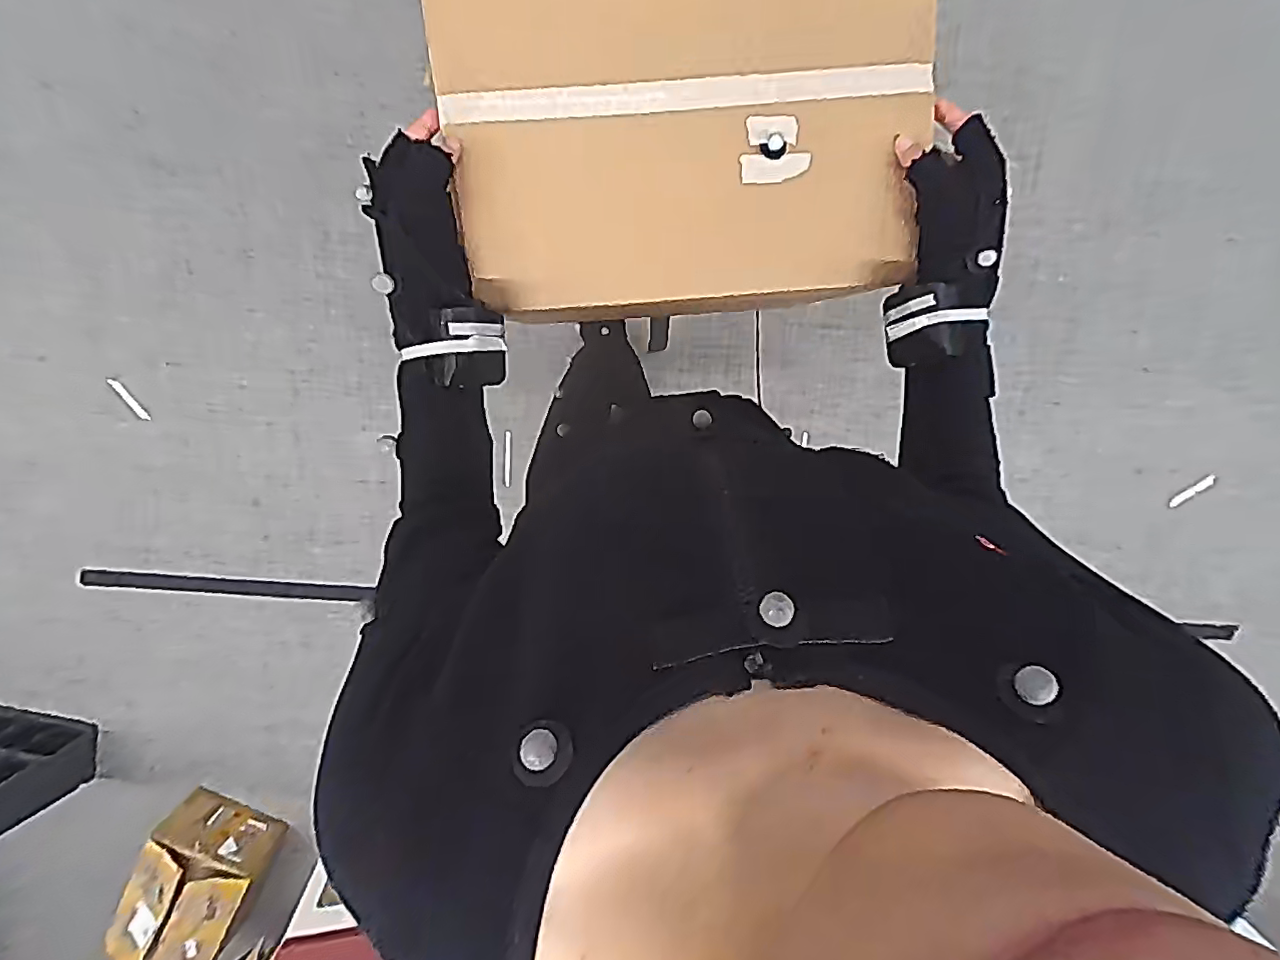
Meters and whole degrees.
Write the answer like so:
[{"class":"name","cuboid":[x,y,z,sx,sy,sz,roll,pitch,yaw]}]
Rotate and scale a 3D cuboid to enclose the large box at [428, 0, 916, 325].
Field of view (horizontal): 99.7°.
[{"class":"large box","cuboid":[0.025,-0.356,0.600,0.408,0.320,0.320,-5,104,-2]}]
